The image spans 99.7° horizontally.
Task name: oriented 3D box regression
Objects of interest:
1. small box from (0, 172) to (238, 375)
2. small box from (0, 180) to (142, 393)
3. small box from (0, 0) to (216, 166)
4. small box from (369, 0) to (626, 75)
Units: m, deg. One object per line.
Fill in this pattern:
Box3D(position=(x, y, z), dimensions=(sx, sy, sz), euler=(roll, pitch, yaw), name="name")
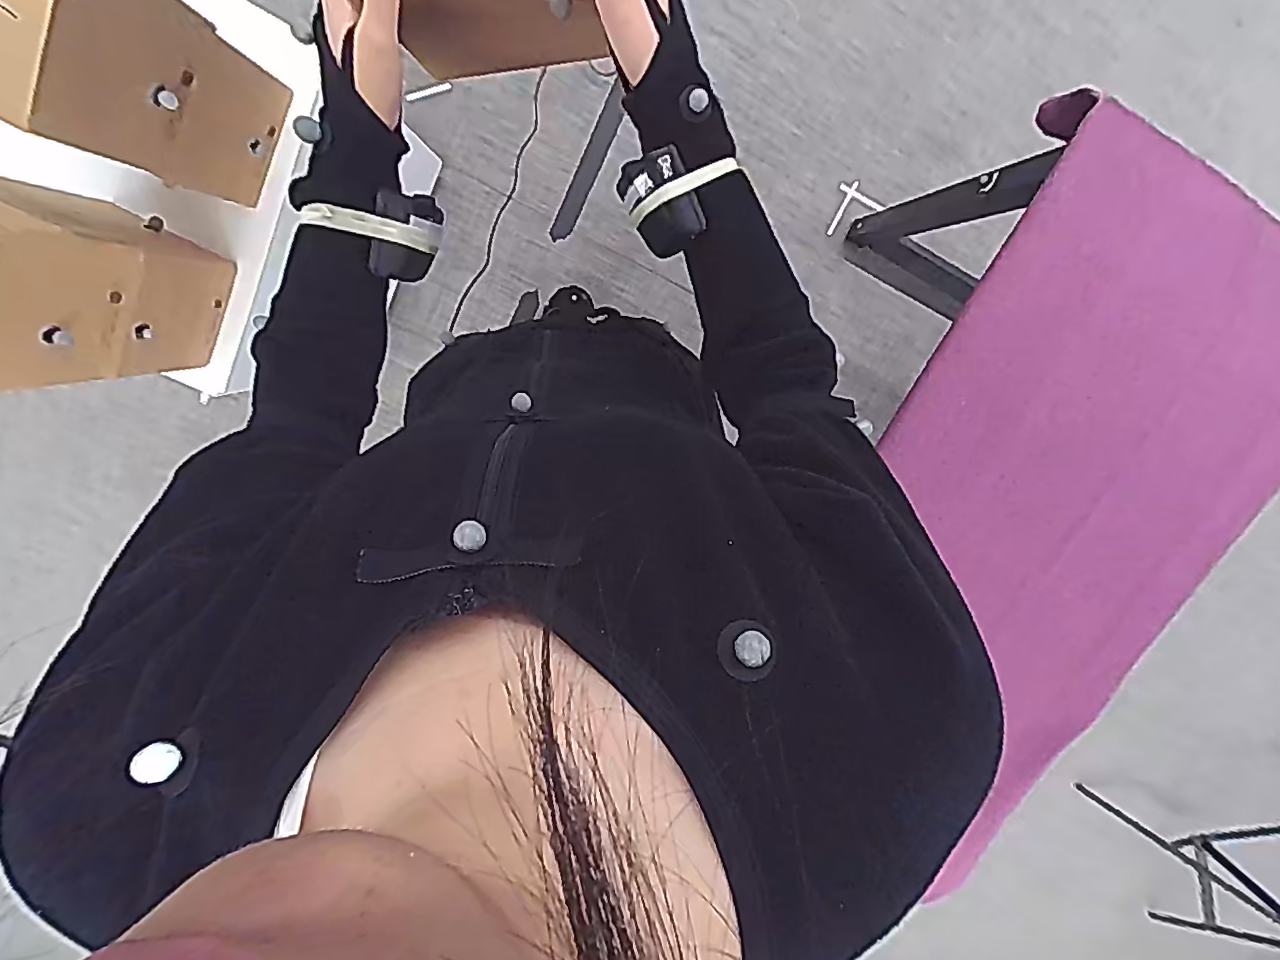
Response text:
Box3D(position=(-0.675, -0.252, 0.692), dimensions=(0.179, 0.176, 0.168), euler=(26, 104, -10), name="small box")
Box3D(position=(-0.661, -0.205, 0.537), dimensions=(0.179, 0.176, 0.168), euler=(24, 104, -11), name="small box")
Box3D(position=(-0.541, -0.415, 0.480), dimensions=(0.179, 0.176, 0.168), euler=(27, 104, -13), name="small box")
Box3D(position=(-0.102, -0.415, 0.373), dimensions=(0.179, 0.176, 0.168), euler=(-7, 108, 2), name="small box")
